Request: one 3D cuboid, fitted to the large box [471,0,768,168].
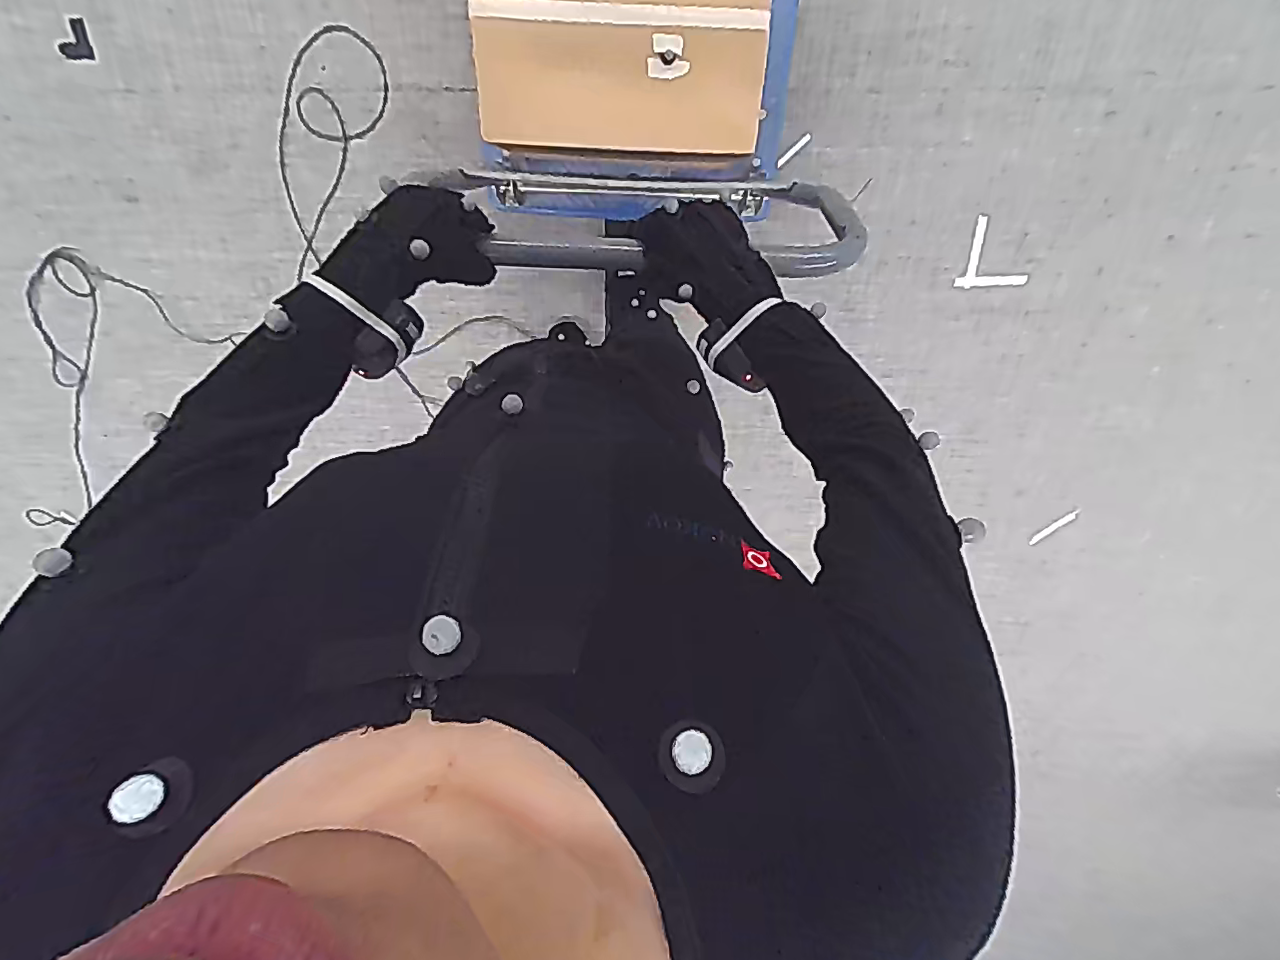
[{"bbox_3d":[-0.032,-0.686,0.858,0.408,0.320,0.320,2,118,-2],"label":"large box"}]
